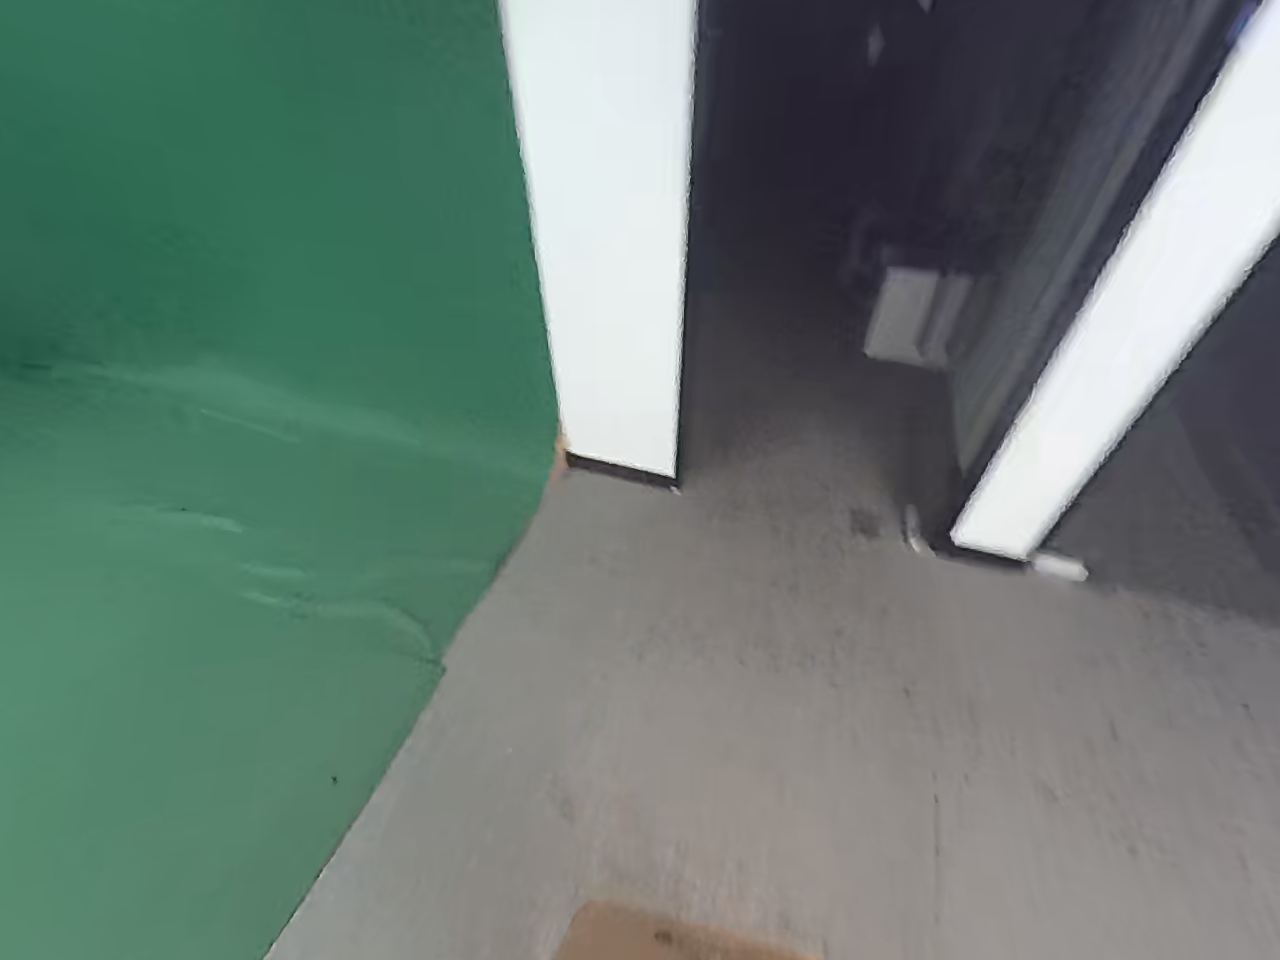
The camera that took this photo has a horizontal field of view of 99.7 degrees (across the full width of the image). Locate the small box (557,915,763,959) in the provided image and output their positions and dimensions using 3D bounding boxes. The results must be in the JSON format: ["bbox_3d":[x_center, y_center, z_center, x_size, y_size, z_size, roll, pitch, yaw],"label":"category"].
[{"bbox_3d":[0.010,0.375,0.269,0.168,0.176,0.179,4,77,13],"label":"small box"}]
